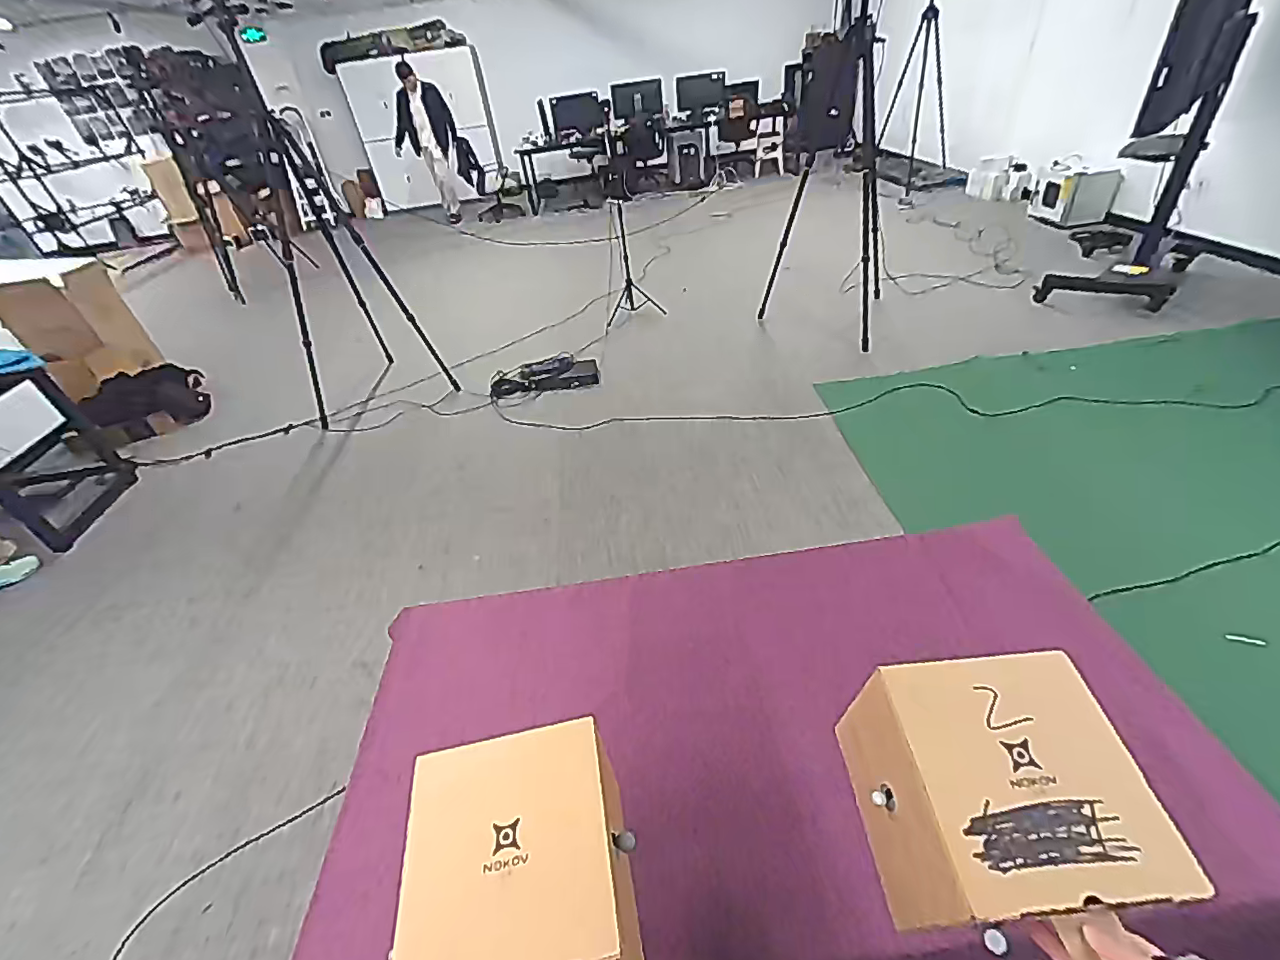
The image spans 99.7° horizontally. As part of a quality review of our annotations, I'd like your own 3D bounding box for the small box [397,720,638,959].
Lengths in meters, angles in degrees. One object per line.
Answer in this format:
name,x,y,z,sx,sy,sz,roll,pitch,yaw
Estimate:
small box,-0.102,0.359,0.501,0.168,0.176,0.179,-12,43,-4
